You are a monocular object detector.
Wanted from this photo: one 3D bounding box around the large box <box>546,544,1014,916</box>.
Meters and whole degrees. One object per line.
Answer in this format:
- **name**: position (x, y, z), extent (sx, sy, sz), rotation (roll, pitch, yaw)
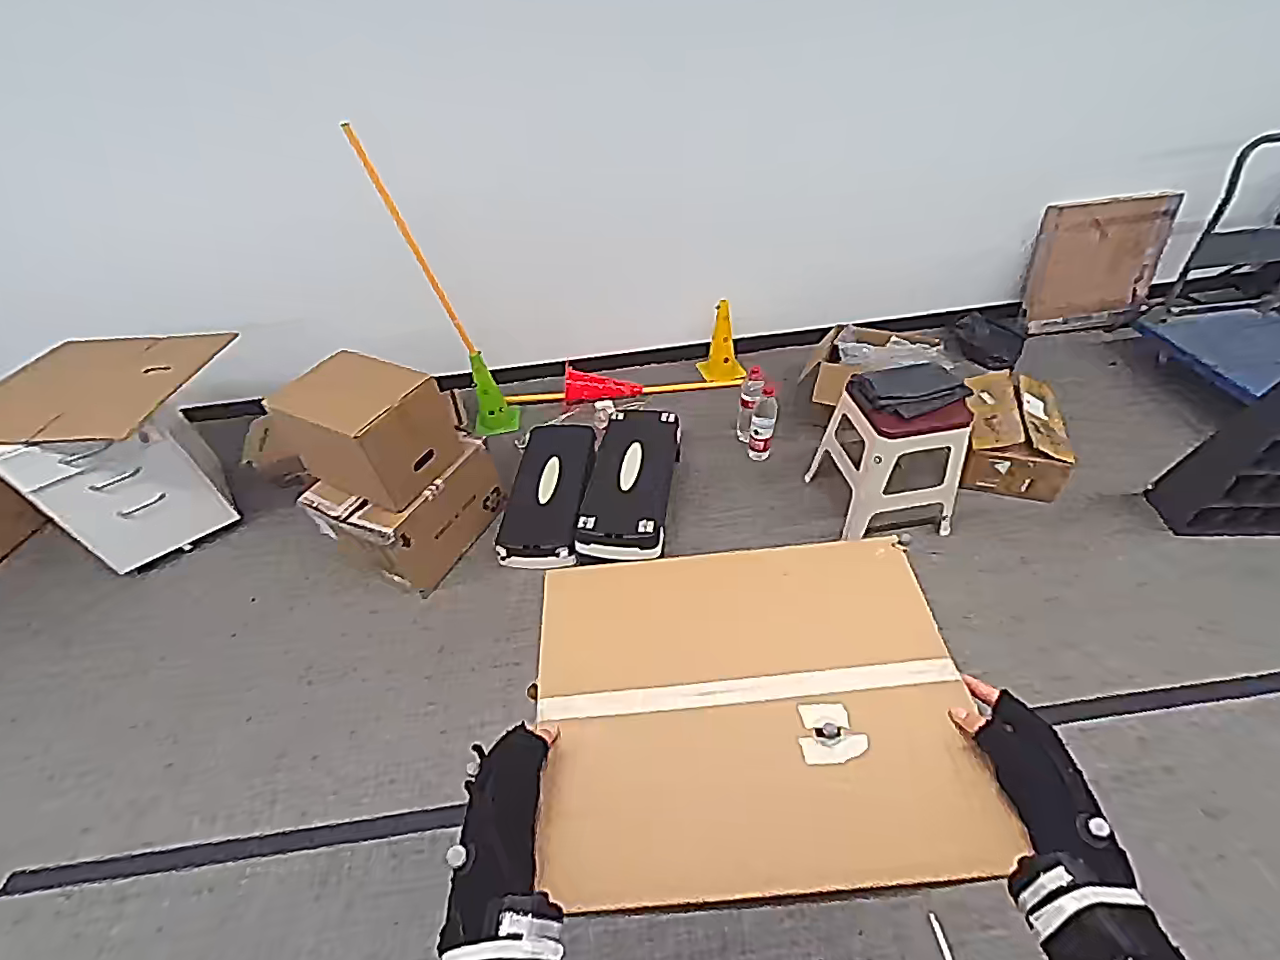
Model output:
- **large box**: position (0.115, 0.309, 0.657), extent (0.408, 0.320, 0.320), rotation (-6, 51, 1)
